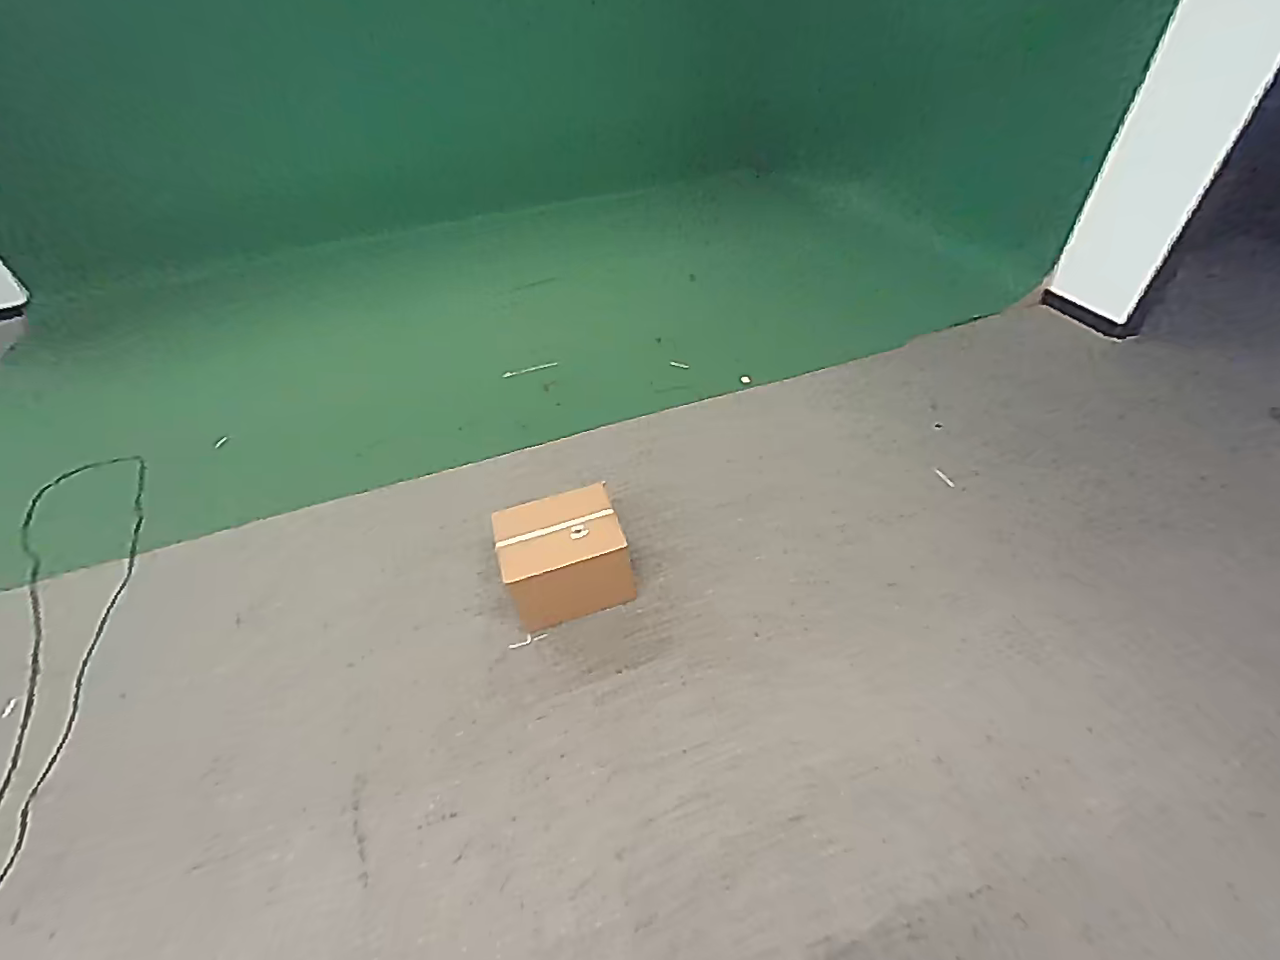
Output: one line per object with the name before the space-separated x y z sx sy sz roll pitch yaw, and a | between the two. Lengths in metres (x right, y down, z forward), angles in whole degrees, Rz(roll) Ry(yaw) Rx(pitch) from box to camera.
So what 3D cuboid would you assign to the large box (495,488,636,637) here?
large box | -0.257 0.287 1.896 0.408 0.320 0.320 -16 45 -10
